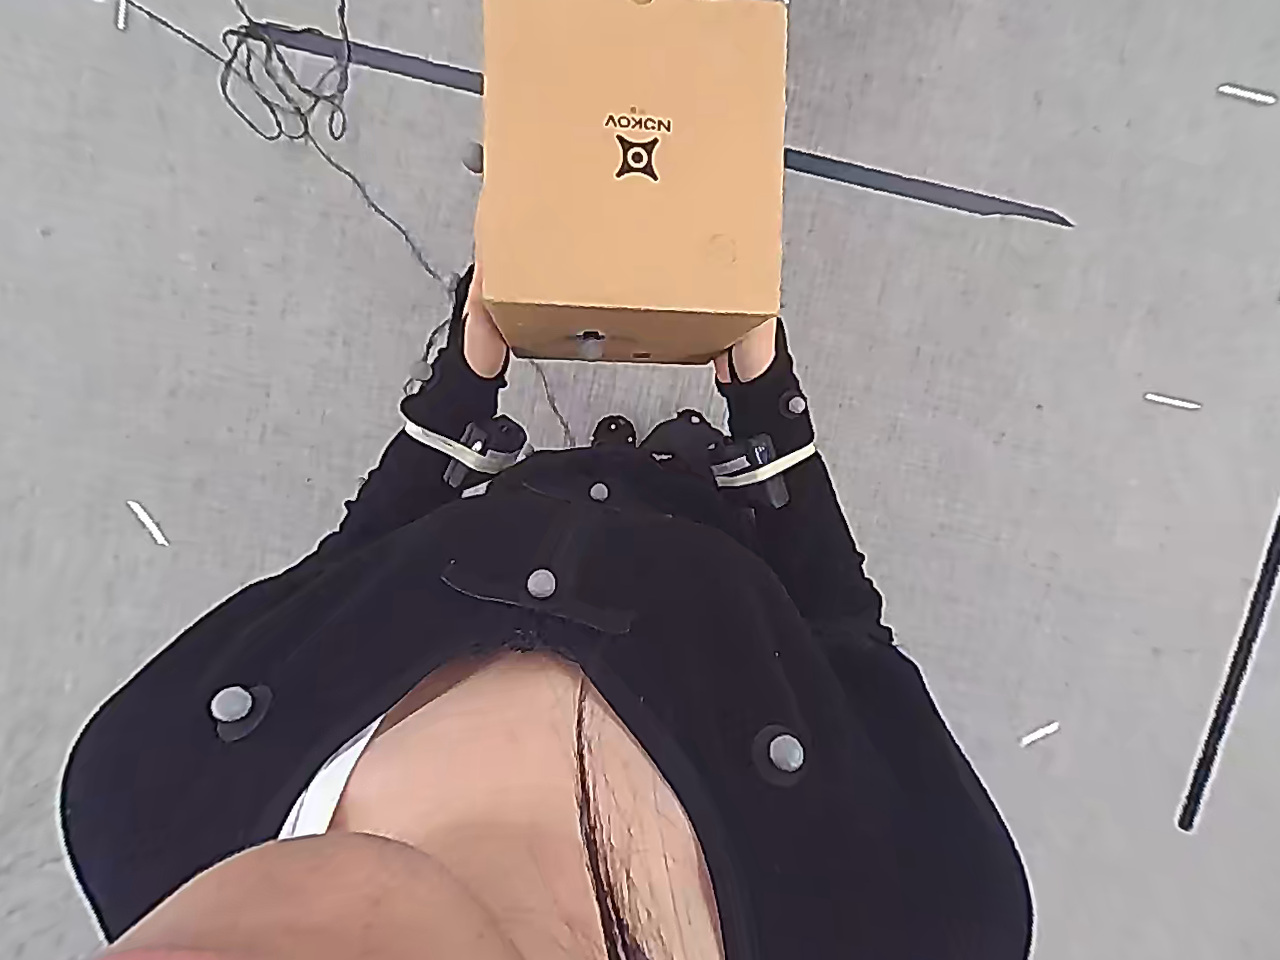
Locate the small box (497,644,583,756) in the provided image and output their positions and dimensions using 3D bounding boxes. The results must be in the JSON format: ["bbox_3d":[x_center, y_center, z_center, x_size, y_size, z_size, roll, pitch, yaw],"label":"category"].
[{"bbox_3d":[-0.218,0.476,1.158,0.168,0.176,0.179,9,95,-2],"label":"small box"}]

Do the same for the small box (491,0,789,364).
[{"bbox_3d":[-0.007,-0.183,0.380,0.168,0.176,0.179,0,91,-7],"label":"small box"}]

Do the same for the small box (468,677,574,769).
[{"bbox_3d":[-0.219,0.486,0.996,0.168,0.176,0.179,7,96,-1],"label":"small box"}]
